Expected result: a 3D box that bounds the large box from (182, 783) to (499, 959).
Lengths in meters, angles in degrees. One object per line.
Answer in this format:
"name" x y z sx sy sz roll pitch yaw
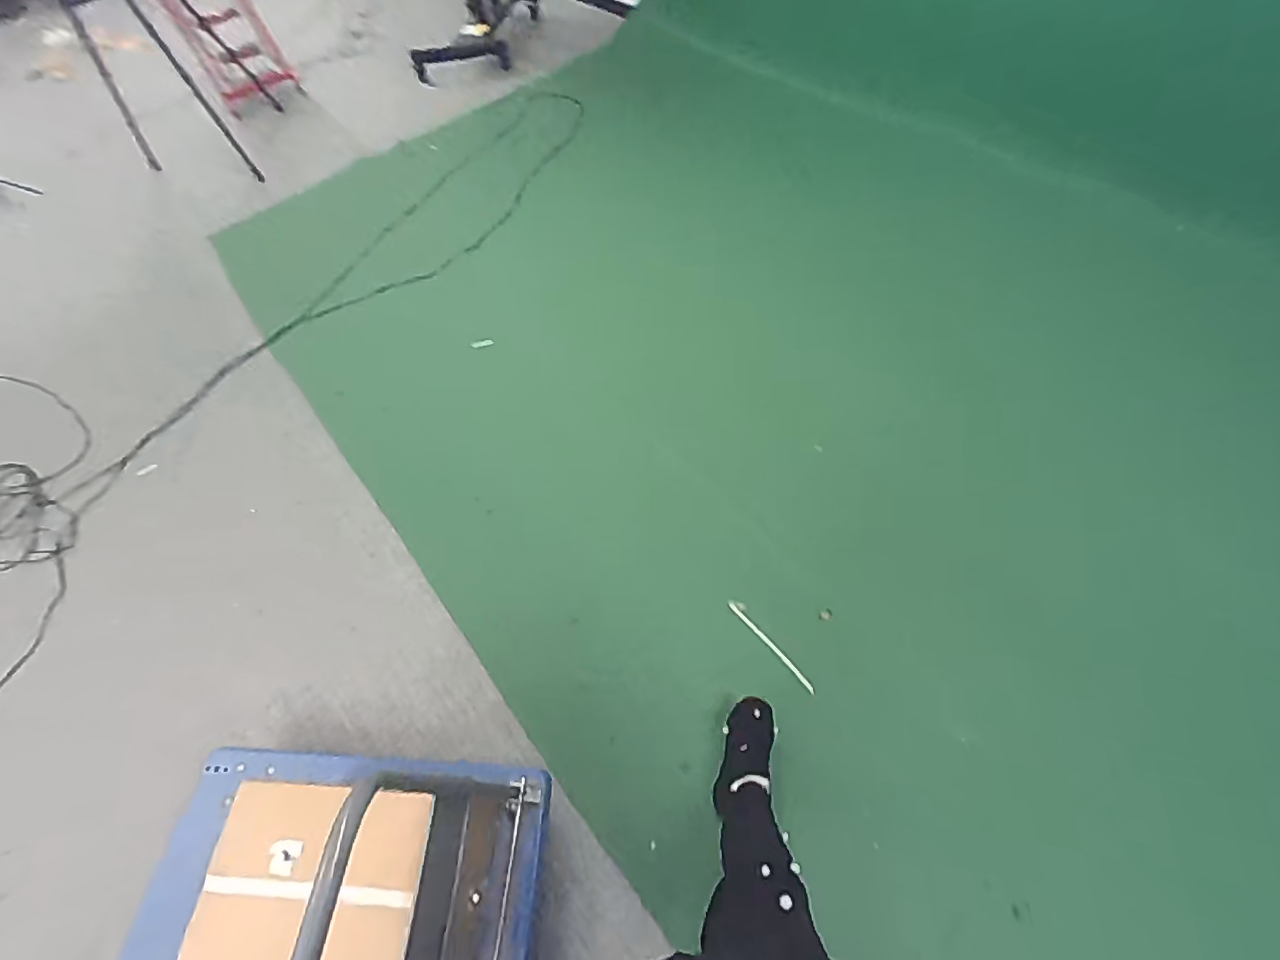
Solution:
"large box" -0.530 0.770 1.039 0.408 0.320 0.320 0 58 7
